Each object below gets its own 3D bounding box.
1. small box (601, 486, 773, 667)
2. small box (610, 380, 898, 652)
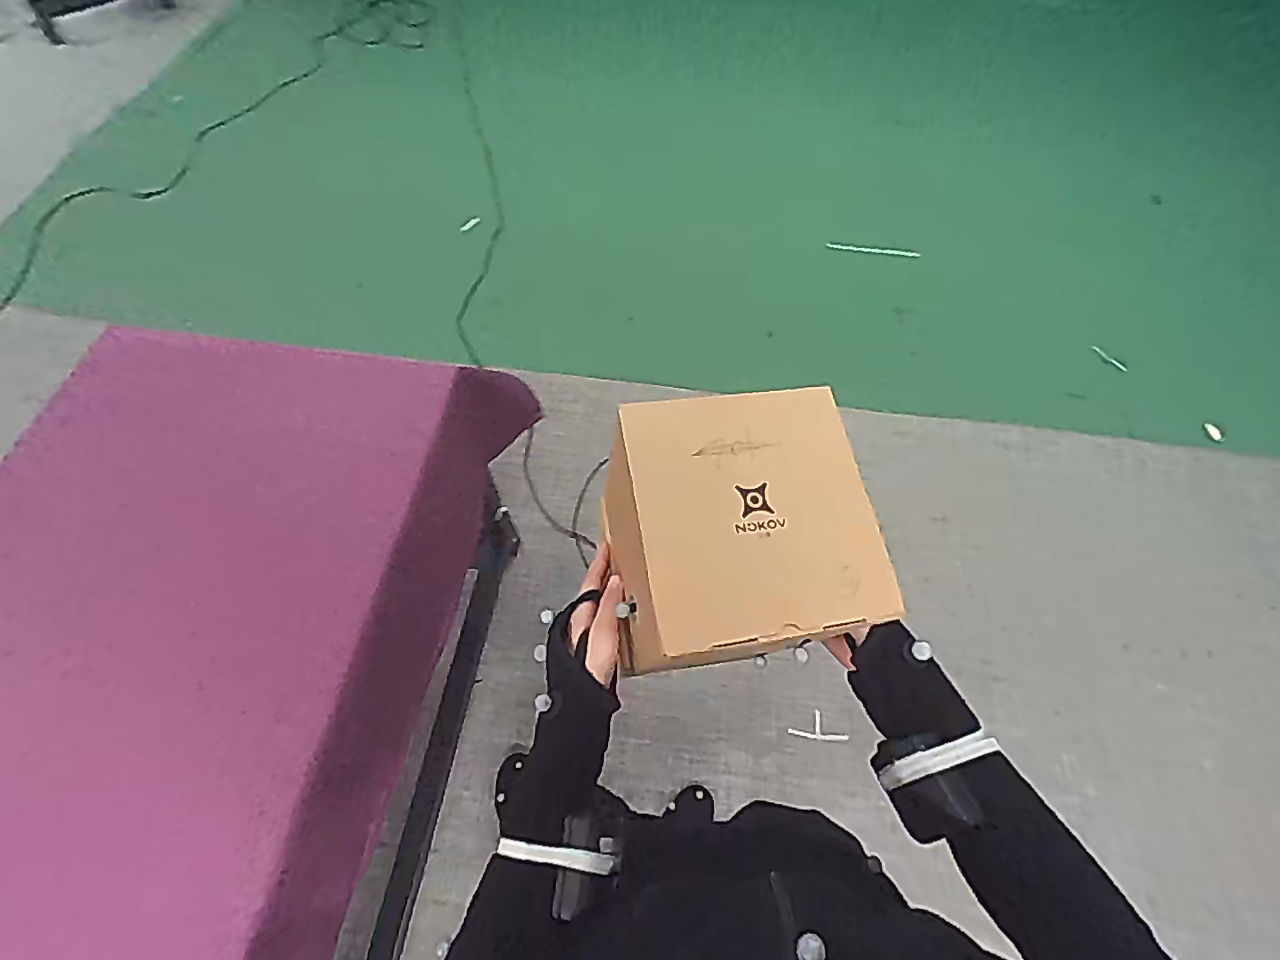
[{"bbox_3d":[0.050,0.105,0.593,0.179,0.176,0.168,-5,68,-9],"label":"small box"},{"bbox_3d":[0.070,0.040,0.444,0.168,0.176,0.179,-5,67,-10],"label":"small box"}]
